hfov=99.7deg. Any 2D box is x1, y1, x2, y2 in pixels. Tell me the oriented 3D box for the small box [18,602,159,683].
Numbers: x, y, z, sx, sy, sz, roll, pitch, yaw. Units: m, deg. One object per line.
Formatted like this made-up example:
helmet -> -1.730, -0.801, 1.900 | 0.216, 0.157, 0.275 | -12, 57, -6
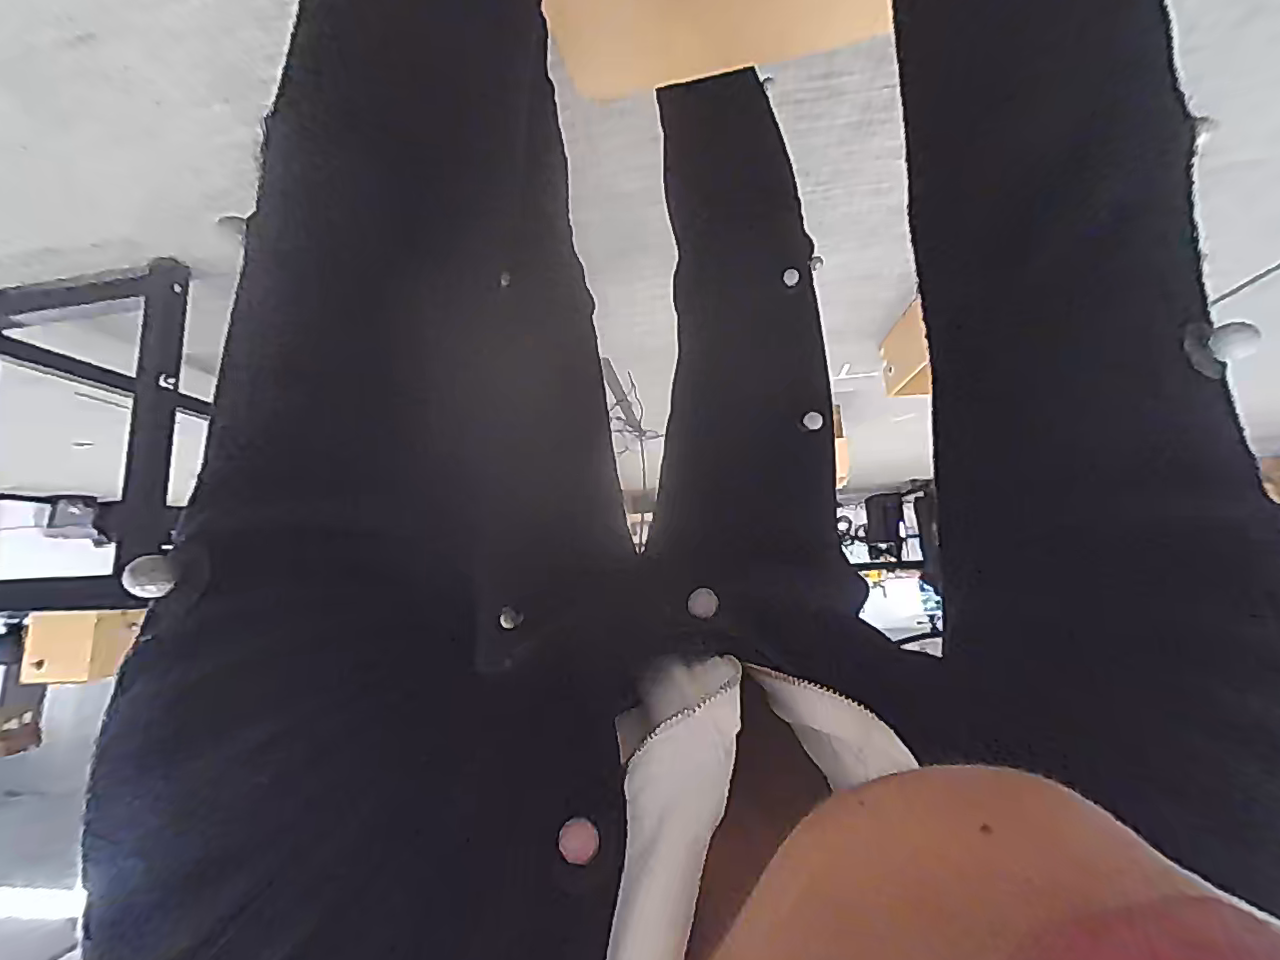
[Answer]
small box -> -1.308, 0.383, 1.297 | 0.179, 0.176, 0.168 | -4, 171, 6
